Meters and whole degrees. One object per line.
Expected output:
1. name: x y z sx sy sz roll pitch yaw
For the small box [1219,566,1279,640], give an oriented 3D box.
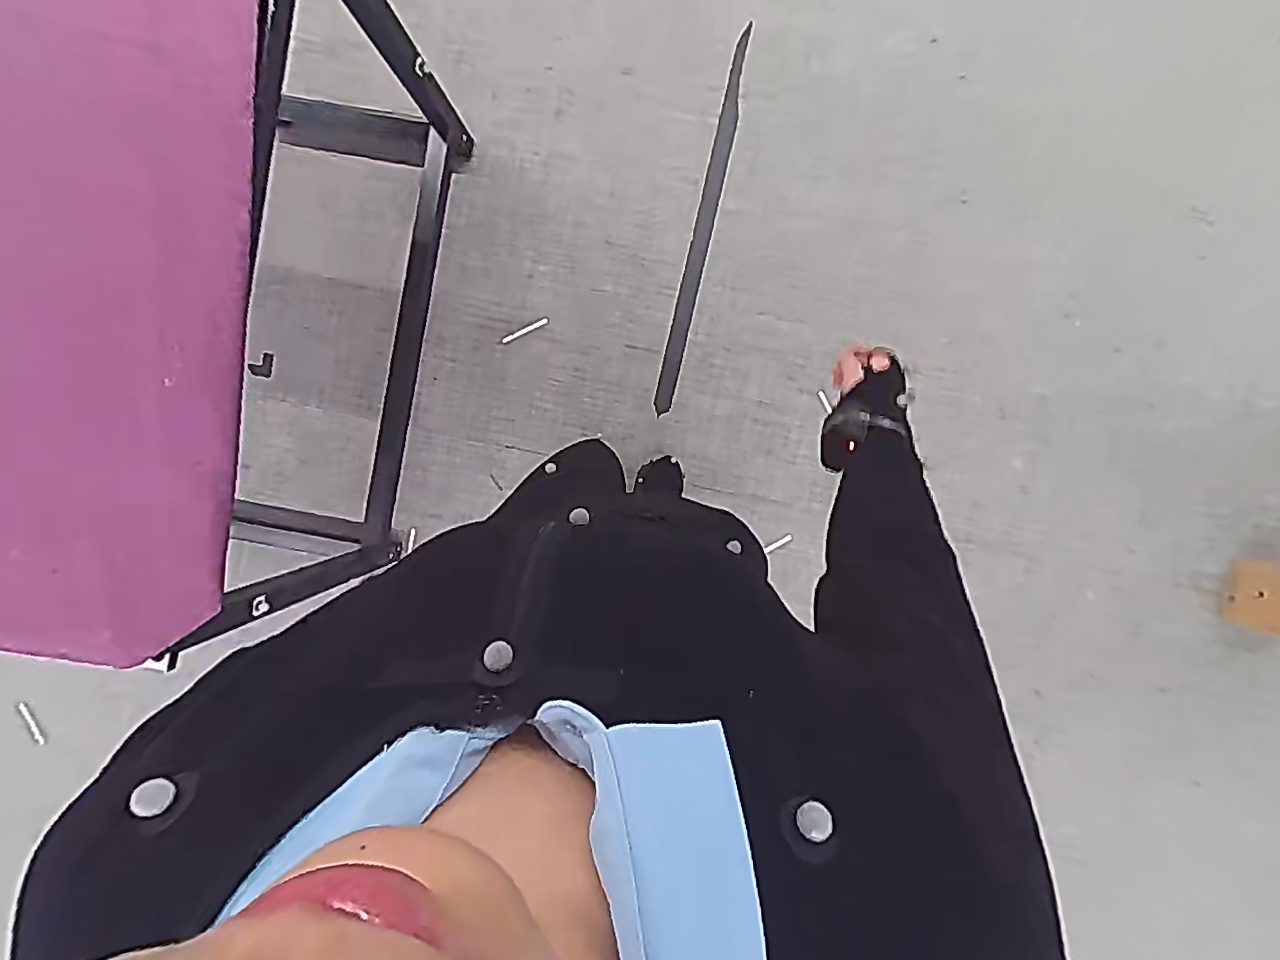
1. small box: 1.636 0.324 1.356 0.179 0.176 0.168 15 93 1
